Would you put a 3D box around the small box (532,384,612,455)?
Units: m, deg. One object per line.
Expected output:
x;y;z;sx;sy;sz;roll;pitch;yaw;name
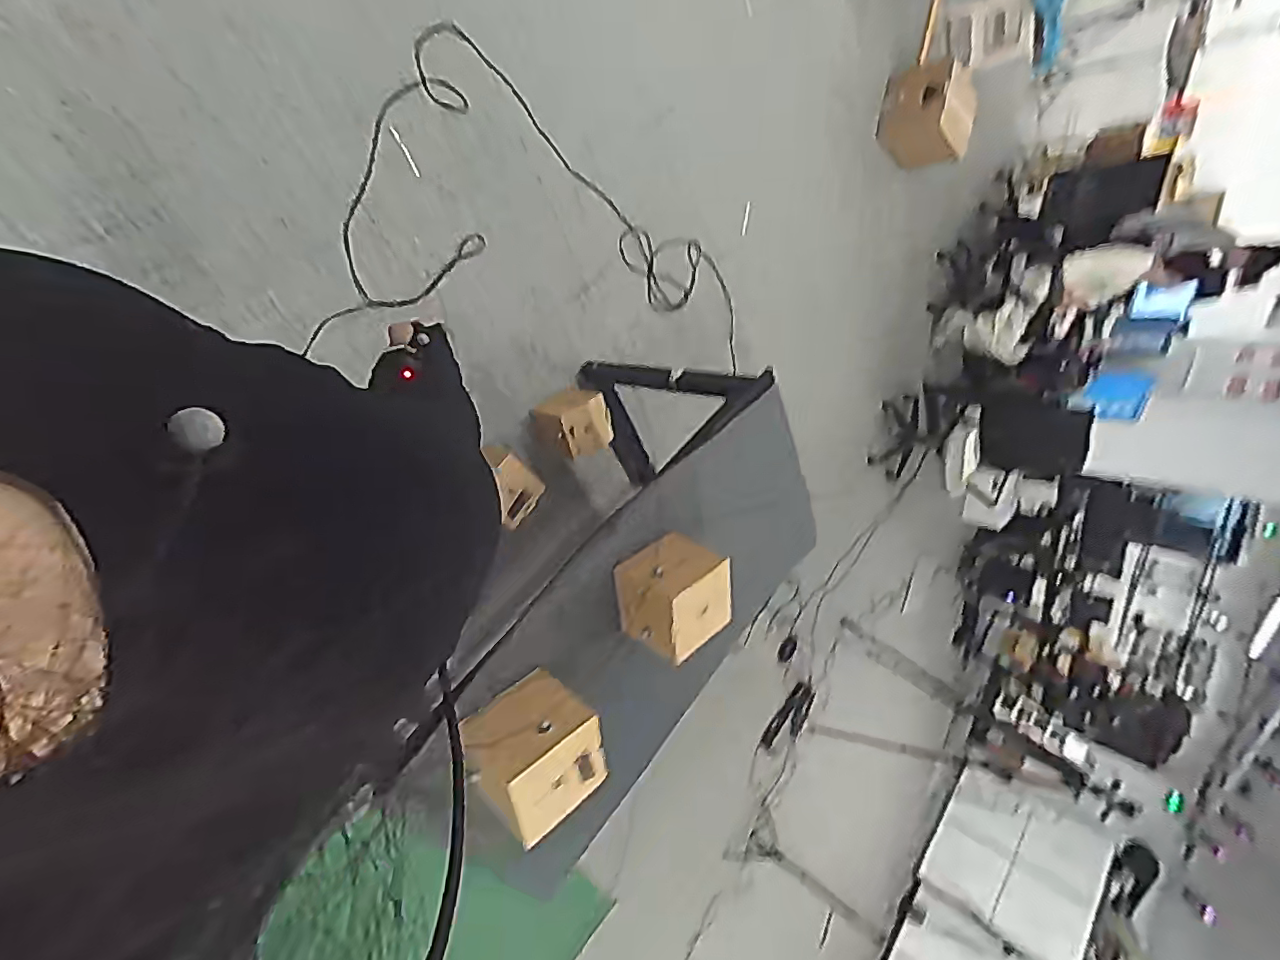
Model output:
-0.223;-0.206;1.770;0.179;0.176;0.168;-36;125;-33;small box

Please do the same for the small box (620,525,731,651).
0.072;0.219;1.144;0.179;0.176;0.168;-29;125;-37;small box

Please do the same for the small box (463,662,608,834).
-0.183;0.460;0.958;0.179;0.176;0.168;-28;123;-38;small box
